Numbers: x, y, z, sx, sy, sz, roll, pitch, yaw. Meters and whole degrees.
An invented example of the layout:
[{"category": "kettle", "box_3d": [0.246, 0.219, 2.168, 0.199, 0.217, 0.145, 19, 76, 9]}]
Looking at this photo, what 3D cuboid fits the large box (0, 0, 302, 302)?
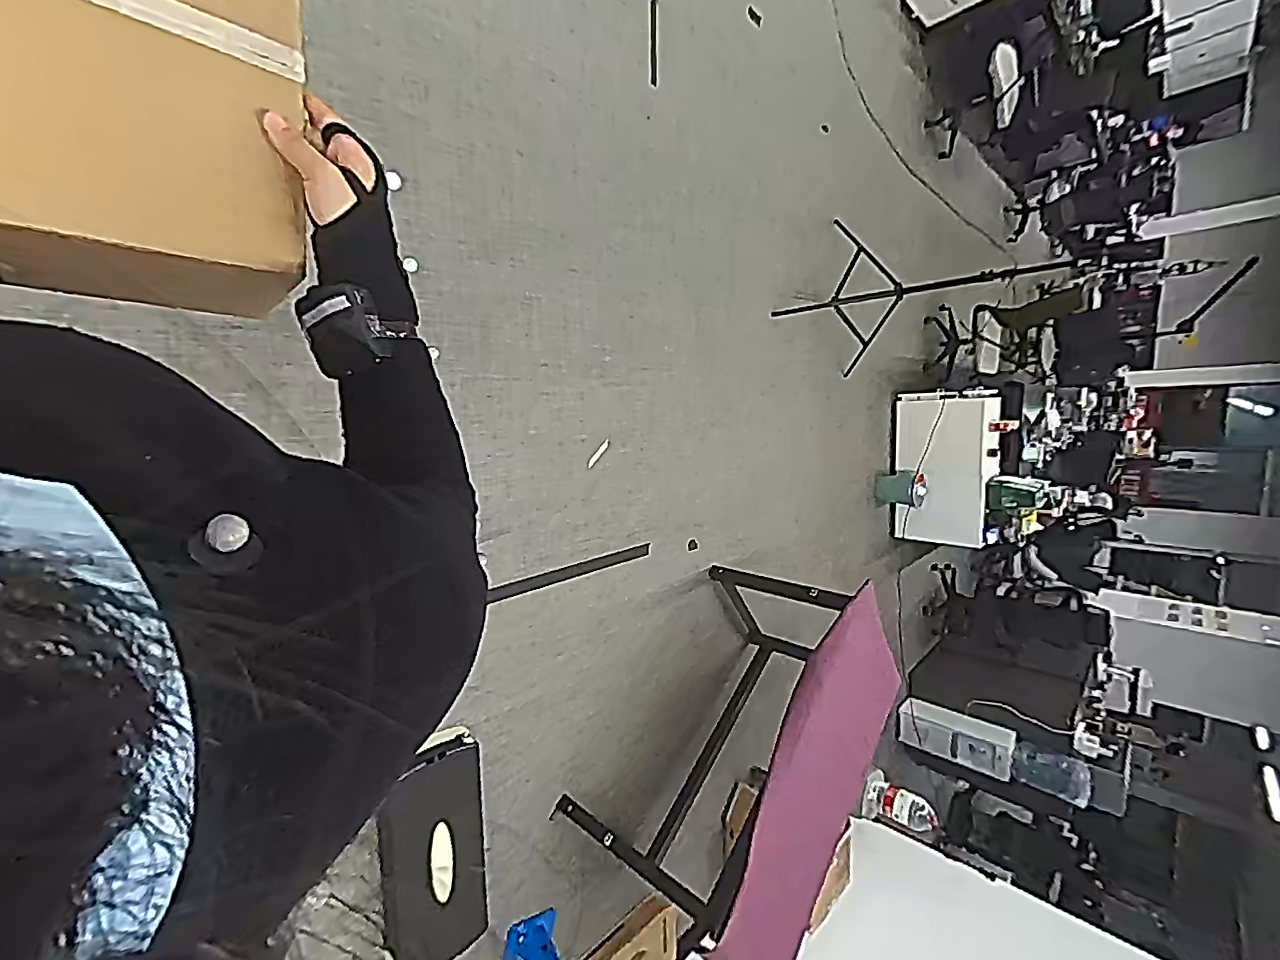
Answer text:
[{"category": "large box", "box_3d": [-0.524, -0.340, 0.421, 0.408, 0.320, 0.320, -3, 98, -40]}]
